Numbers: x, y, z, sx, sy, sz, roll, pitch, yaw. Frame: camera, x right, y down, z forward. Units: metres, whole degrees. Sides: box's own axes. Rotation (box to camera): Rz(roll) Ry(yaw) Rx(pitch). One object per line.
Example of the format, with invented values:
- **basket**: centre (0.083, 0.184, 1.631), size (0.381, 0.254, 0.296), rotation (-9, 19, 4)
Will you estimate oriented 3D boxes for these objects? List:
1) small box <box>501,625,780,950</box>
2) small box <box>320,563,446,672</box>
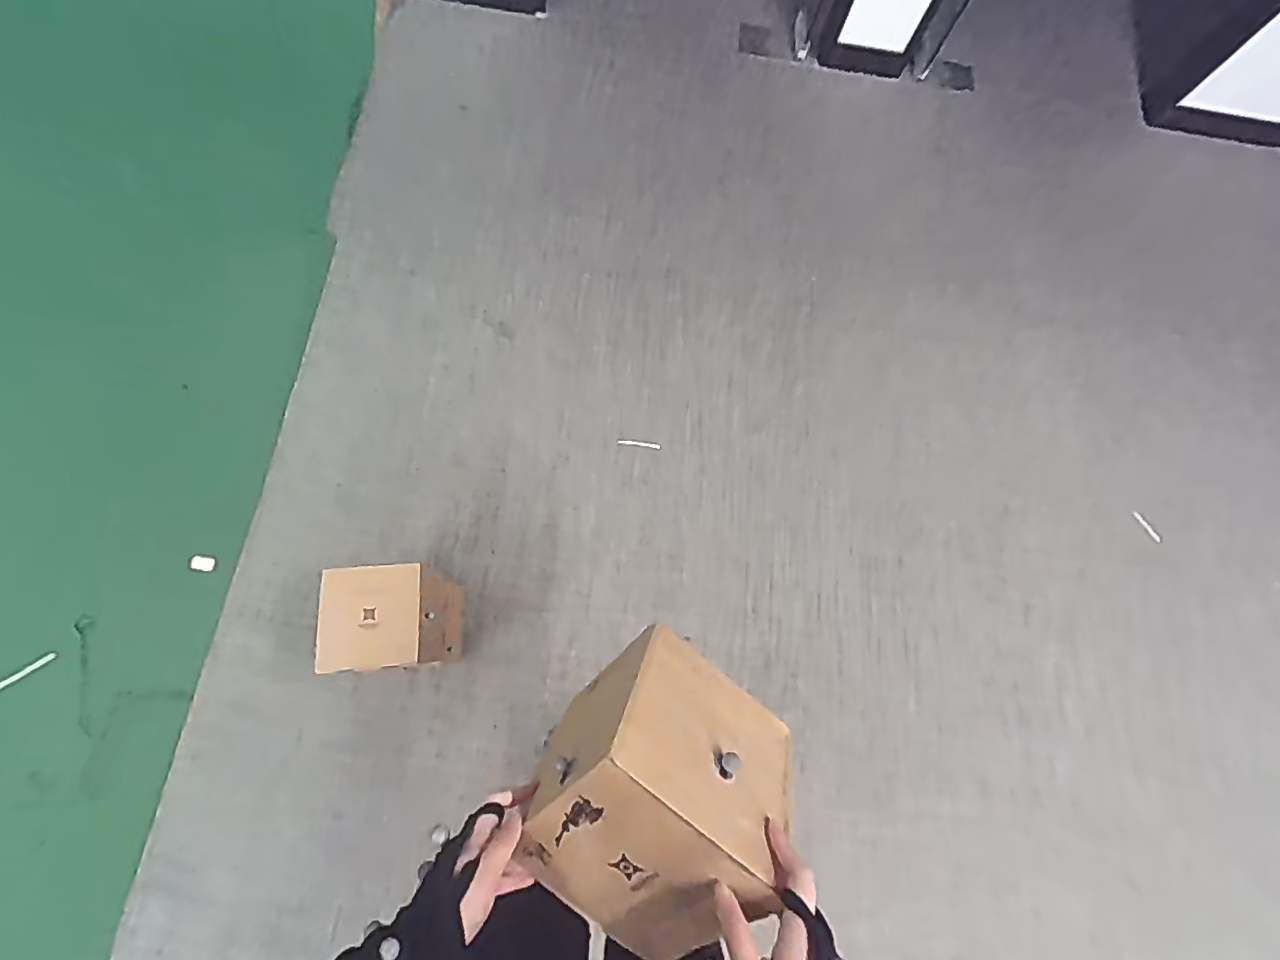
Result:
- **small box**: centre (0.012, 0.273, 0.505), size (0.179, 0.176, 0.168), rotation (39, 115, -3)
- **small box**: centre (-0.466, 0.255, 1.005), size (0.168, 0.176, 0.179), rotation (-2, 74, -7)
